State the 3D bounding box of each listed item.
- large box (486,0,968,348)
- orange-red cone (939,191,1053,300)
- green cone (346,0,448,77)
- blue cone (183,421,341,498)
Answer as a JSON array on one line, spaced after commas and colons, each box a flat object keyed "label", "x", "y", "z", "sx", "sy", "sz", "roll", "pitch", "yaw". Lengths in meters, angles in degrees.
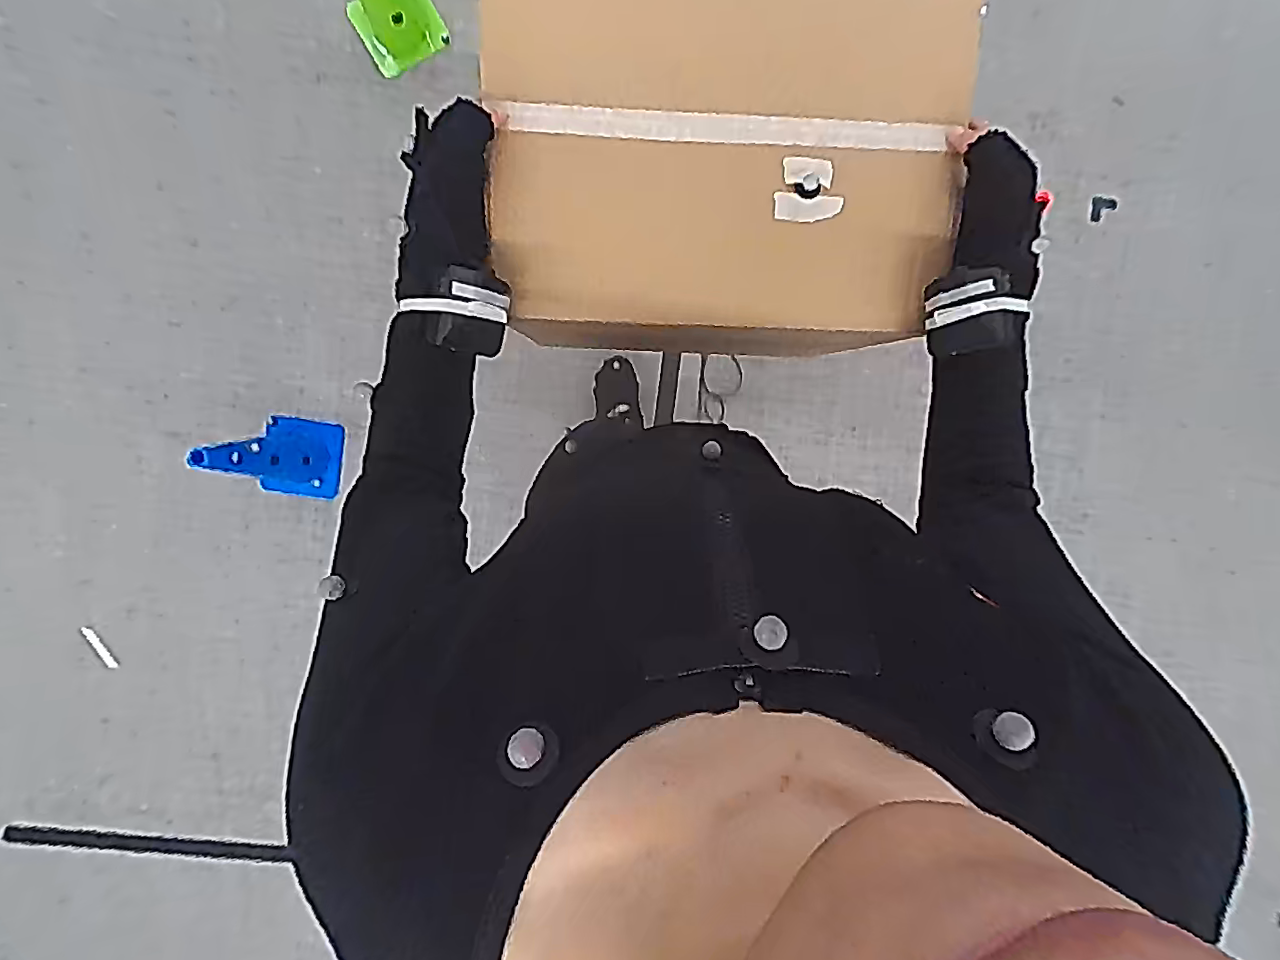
[{"label": "large box", "x": 0.064, "y": -0.321, "z": 0.601, "sx": 0.408, "sy": 0.320, "sz": 0.320, "roll": 1, "pitch": 99, "yaw": -4}, {"label": "orange-red cone", "x": 0.823, "y": -0.588, "z": 1.290, "sx": 0.198, "sy": 0.360, "sz": 0.199, "roll": 4, "pitch": 91, "yaw": -4}, {"label": "green cone", "x": -0.608, "y": -1.142, "z": 1.195, "sx": 0.202, "sy": 0.368, "sz": 0.200, "roll": -31, "pitch": 93, "yaw": 1}, {"label": "blue cone", "x": -0.882, "y": -0.046, "z": 1.253, "sx": 0.192, "sy": 0.380, "sz": 0.193, "roll": 9, "pitch": 92, "yaw": -2}]
